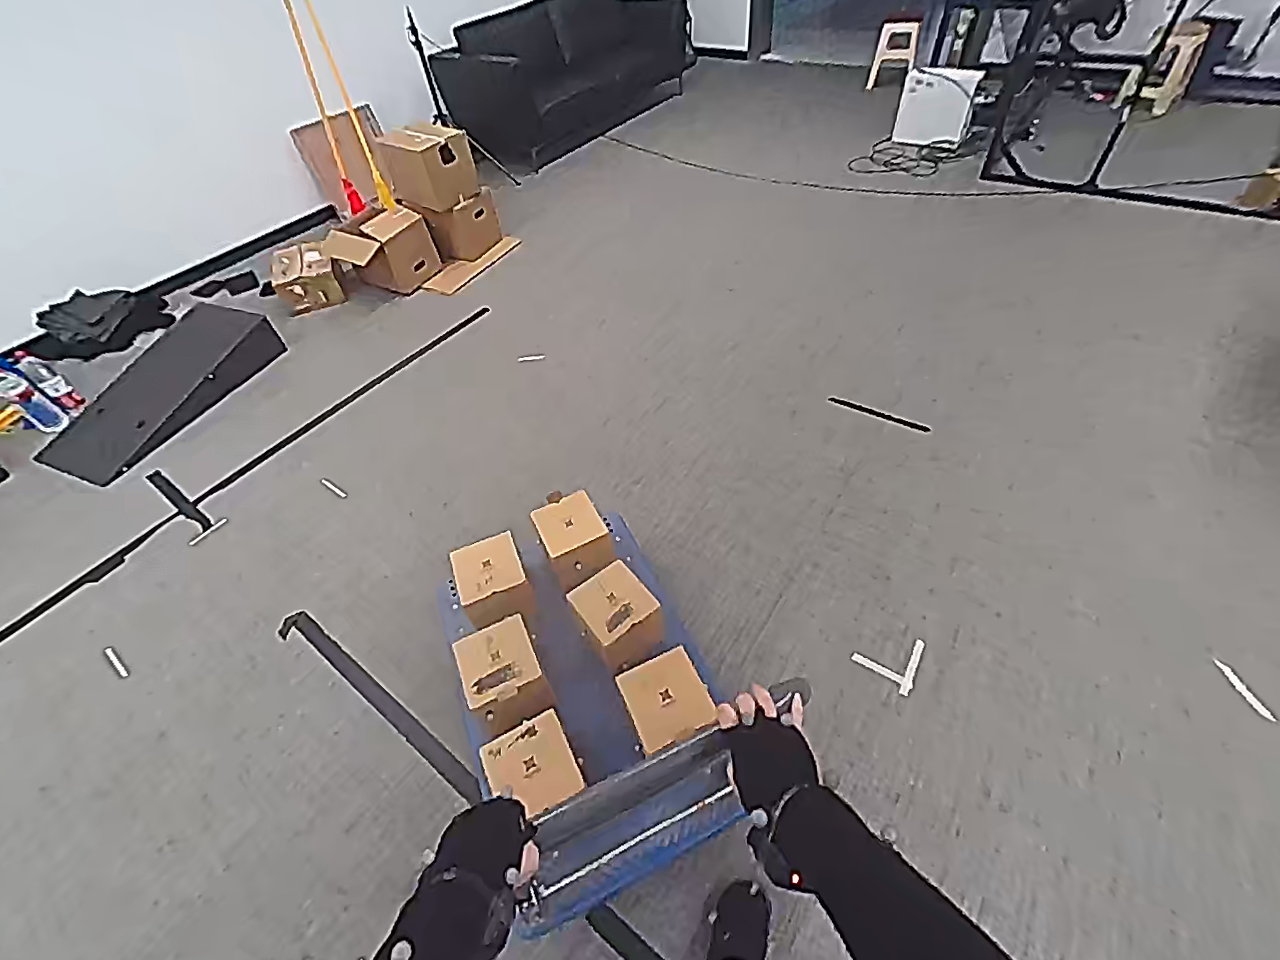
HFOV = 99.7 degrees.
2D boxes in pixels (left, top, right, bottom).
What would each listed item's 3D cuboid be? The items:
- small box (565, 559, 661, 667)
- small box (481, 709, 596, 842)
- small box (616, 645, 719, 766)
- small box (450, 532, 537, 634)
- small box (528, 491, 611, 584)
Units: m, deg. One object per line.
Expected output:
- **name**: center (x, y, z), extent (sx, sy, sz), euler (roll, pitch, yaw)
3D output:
- **small box**: center (-0.061, 0.340, 1.349), extent (0.168, 0.176, 0.179), euler (-32, 52, -21)
- **small box**: center (-0.204, 0.616, 1.117), extent (0.168, 0.176, 0.179), euler (-24, 51, -17)
- **small box**: center (0.062, 0.504, 1.192), extent (0.168, 0.176, 0.179), euler (-22, 49, -14)
- **small box**: center (-0.386, 0.276, 1.435), extent (0.168, 0.176, 0.179), euler (-21, 51, -13)
- **small box**: center (-0.192, 0.168, 1.515), extent (0.168, 0.176, 0.179), euler (-25, 51, -16)
